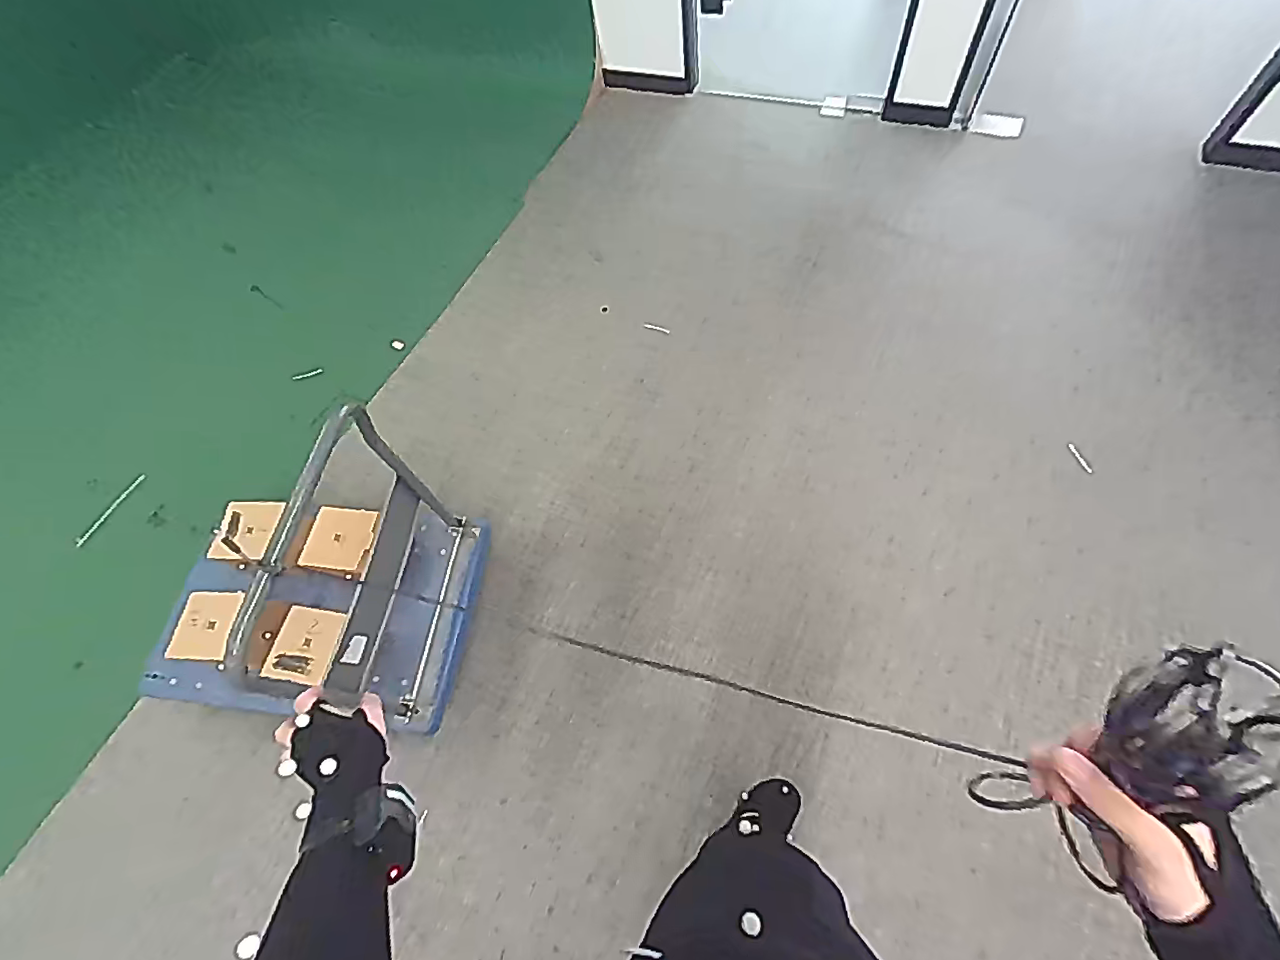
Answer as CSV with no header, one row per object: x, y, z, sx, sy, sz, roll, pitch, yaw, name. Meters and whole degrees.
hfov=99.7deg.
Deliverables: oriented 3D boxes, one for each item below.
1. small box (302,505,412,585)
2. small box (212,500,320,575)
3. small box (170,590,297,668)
-0.765,0.182,1.478,0.179,0.176,0.168,5,64,9,small box
-1.031,0.166,1.520,0.179,0.176,0.168,1,64,7,small box
-1.045,0.390,1.408,0.179,0.176,0.168,0,63,8,small box
